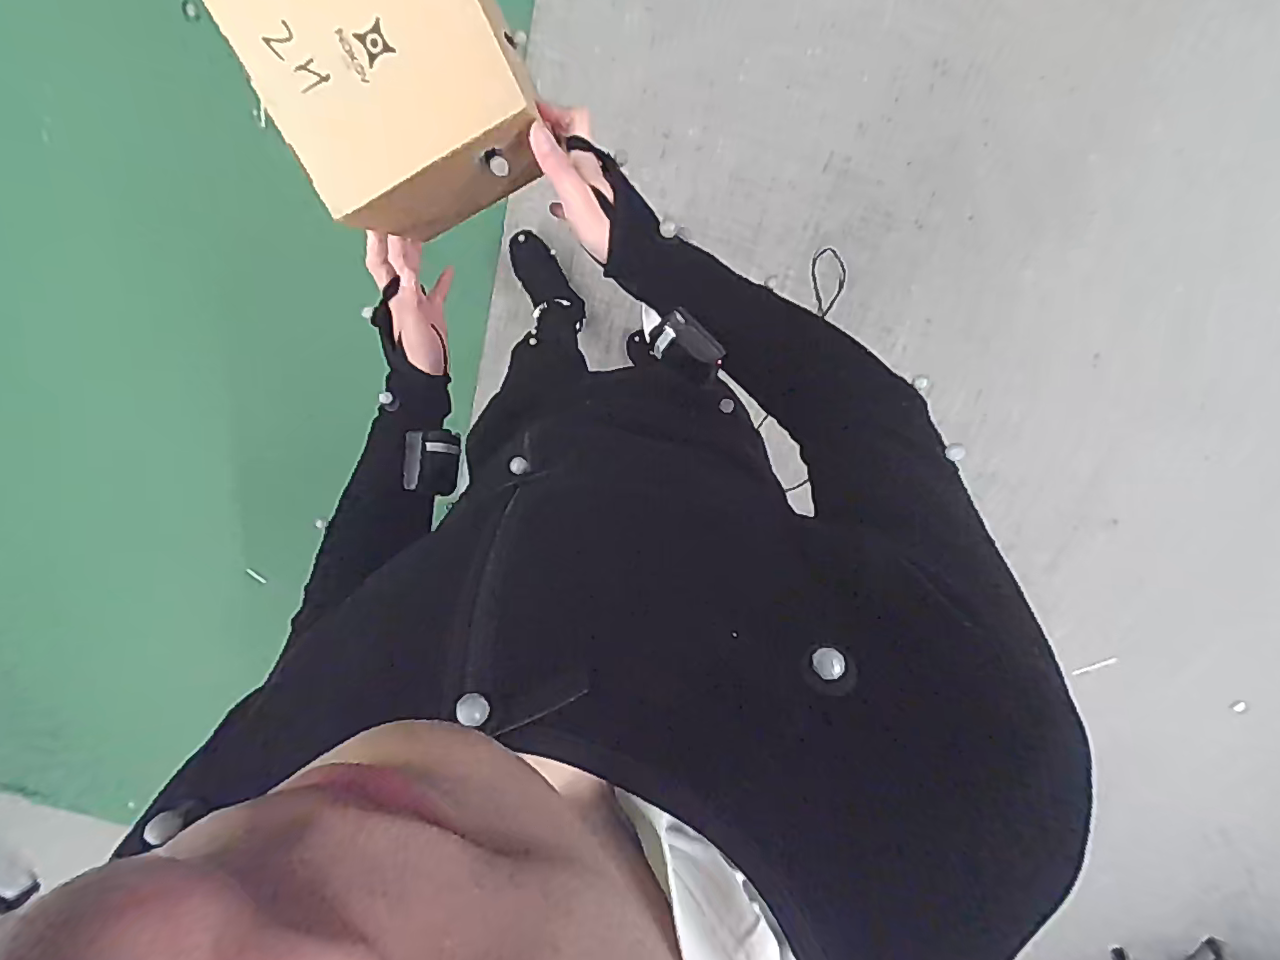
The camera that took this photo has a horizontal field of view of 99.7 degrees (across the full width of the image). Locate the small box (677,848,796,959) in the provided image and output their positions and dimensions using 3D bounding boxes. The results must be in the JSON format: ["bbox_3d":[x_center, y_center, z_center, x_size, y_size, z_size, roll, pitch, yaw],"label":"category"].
[{"bbox_3d":[0.163,0.803,0.974,0.179,0.176,0.168,9,115,1],"label":"small box"}]

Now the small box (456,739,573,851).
[{"bbox_3d":[-0.256,0.685,1.140,0.179,0.176,0.168,22,113,-4],"label":"small box"}]

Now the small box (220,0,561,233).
[{"bbox_3d":[-0.179,-0.330,0.453,0.179,0.176,0.168,-23,106,11],"label":"small box"}]
